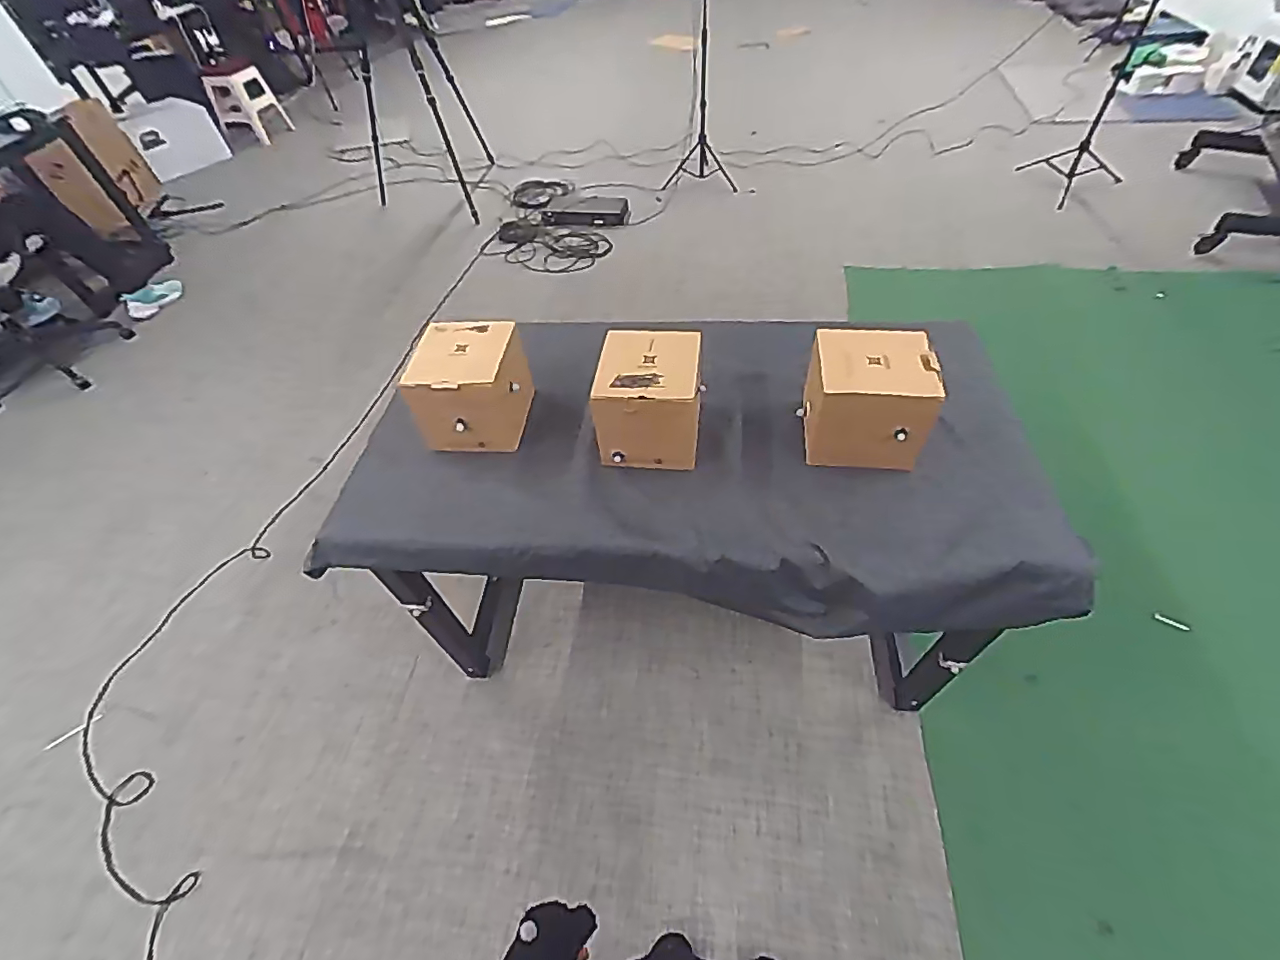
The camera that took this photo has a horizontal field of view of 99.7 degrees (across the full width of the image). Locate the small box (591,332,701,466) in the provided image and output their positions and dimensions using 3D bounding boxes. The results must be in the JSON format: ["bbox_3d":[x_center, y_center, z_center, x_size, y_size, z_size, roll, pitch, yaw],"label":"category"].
[{"bbox_3d":[0.020,-0.141,0.957,0.168,0.176,0.179,3,51,8],"label":"small box"}]

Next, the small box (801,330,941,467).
[{"bbox_3d":[0.378,-0.135,0.919,0.179,0.176,0.168,2,50,9],"label":"small box"}]

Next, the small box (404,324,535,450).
[{"bbox_3d":[-0.306,-0.170,1.013,0.168,0.176,0.179,1,52,6],"label":"small box"}]
